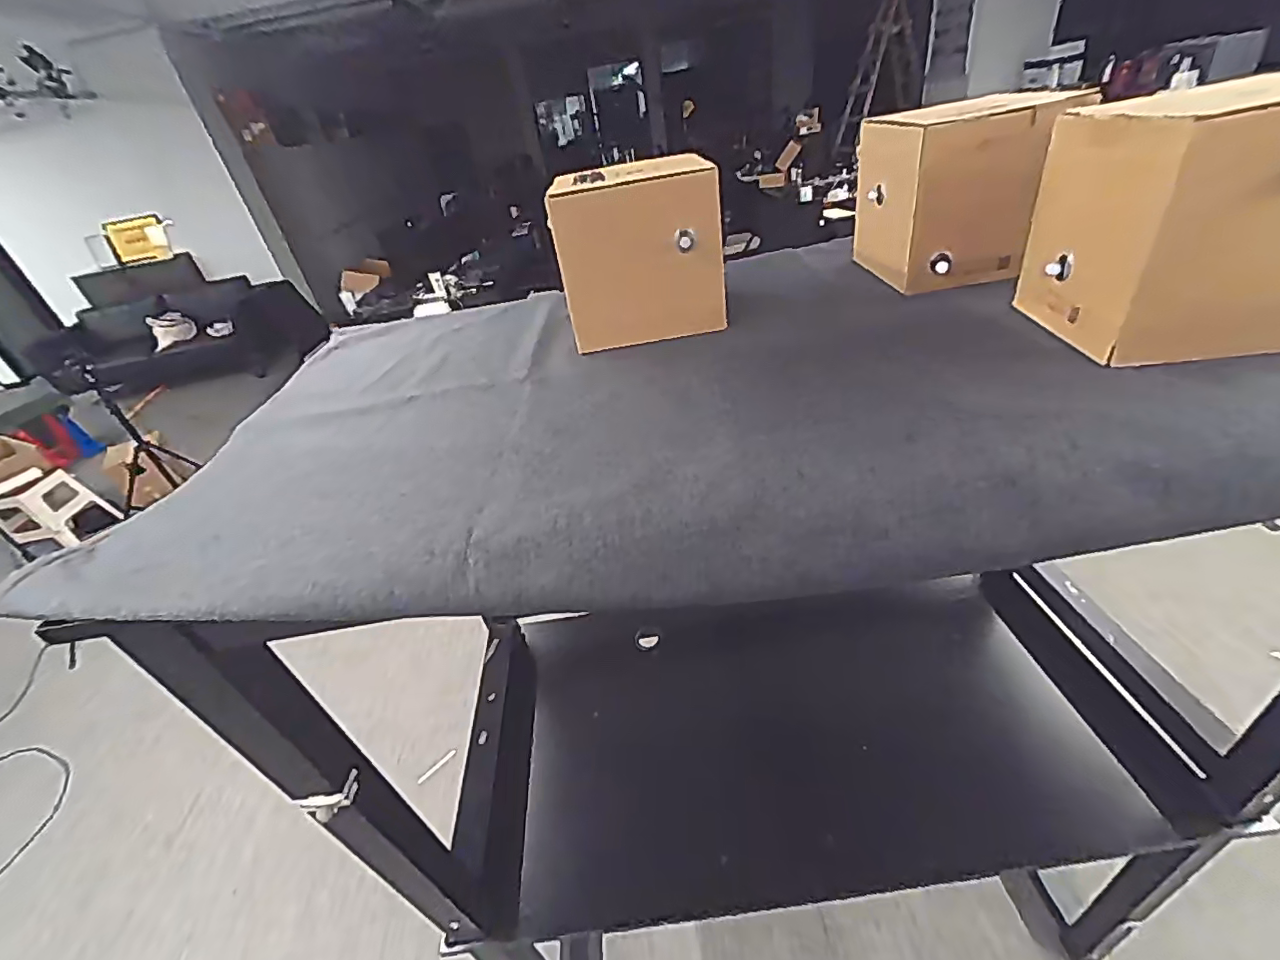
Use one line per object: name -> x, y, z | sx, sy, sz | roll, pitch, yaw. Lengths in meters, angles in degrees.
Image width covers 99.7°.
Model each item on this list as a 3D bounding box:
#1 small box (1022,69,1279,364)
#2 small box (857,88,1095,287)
small box -> 0.440, -0.204, 0.418 | 0.179, 0.176, 0.168 | -5, 33, 11
small box -> 0.364, -0.334, 0.629 | 0.168, 0.176, 0.179 | -9, 34, 4
